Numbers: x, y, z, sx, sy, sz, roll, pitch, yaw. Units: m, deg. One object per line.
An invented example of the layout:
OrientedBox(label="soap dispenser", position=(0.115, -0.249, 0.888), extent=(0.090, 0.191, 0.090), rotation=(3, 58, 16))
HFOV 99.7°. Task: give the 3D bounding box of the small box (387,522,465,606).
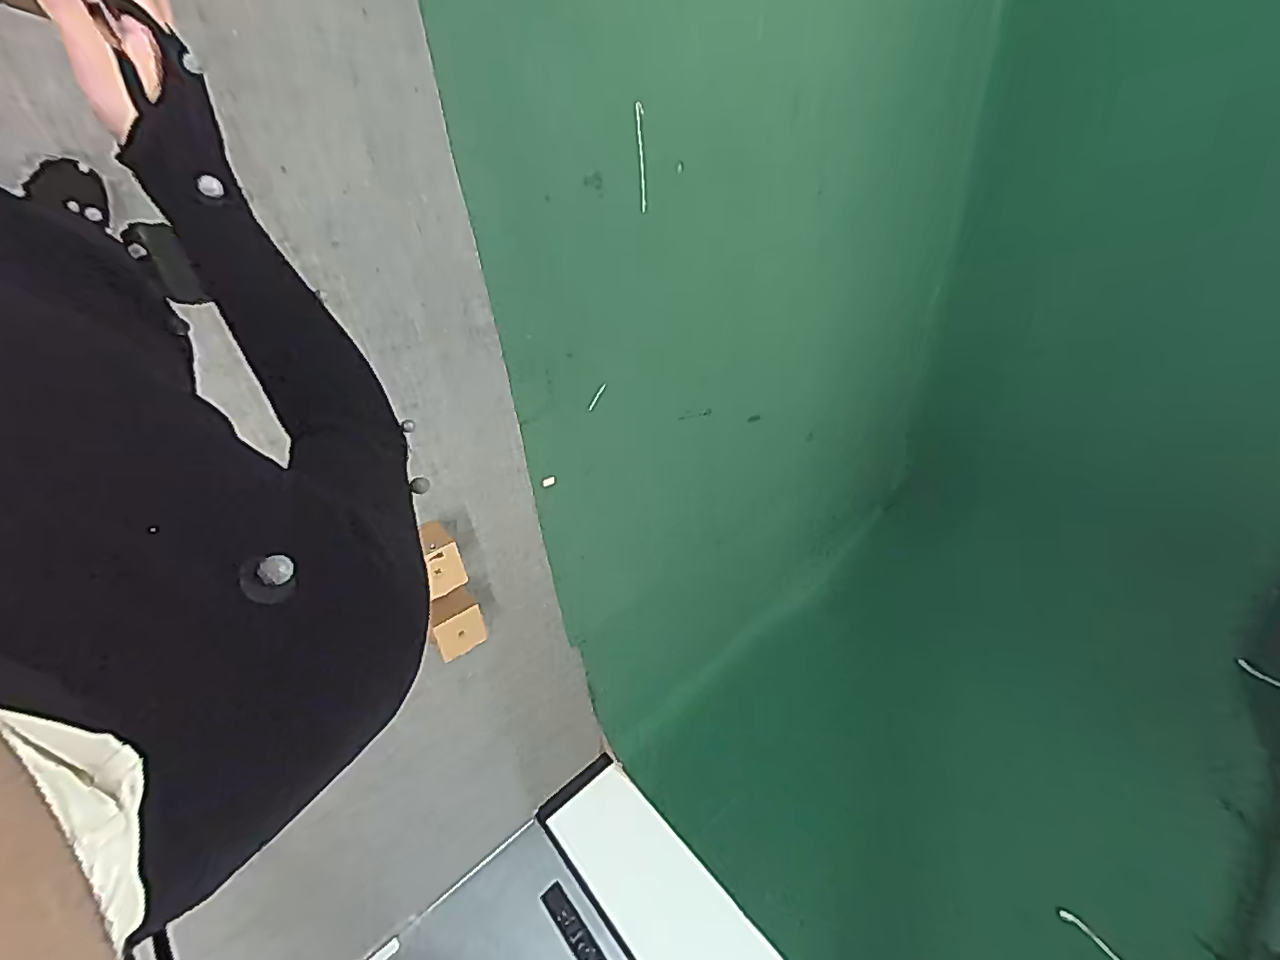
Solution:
OrientedBox(label="small box", position=(-0.699, 0.270, 1.767), extent=(0.168, 0.176, 0.179), rotation=(-27, 130, -30))
